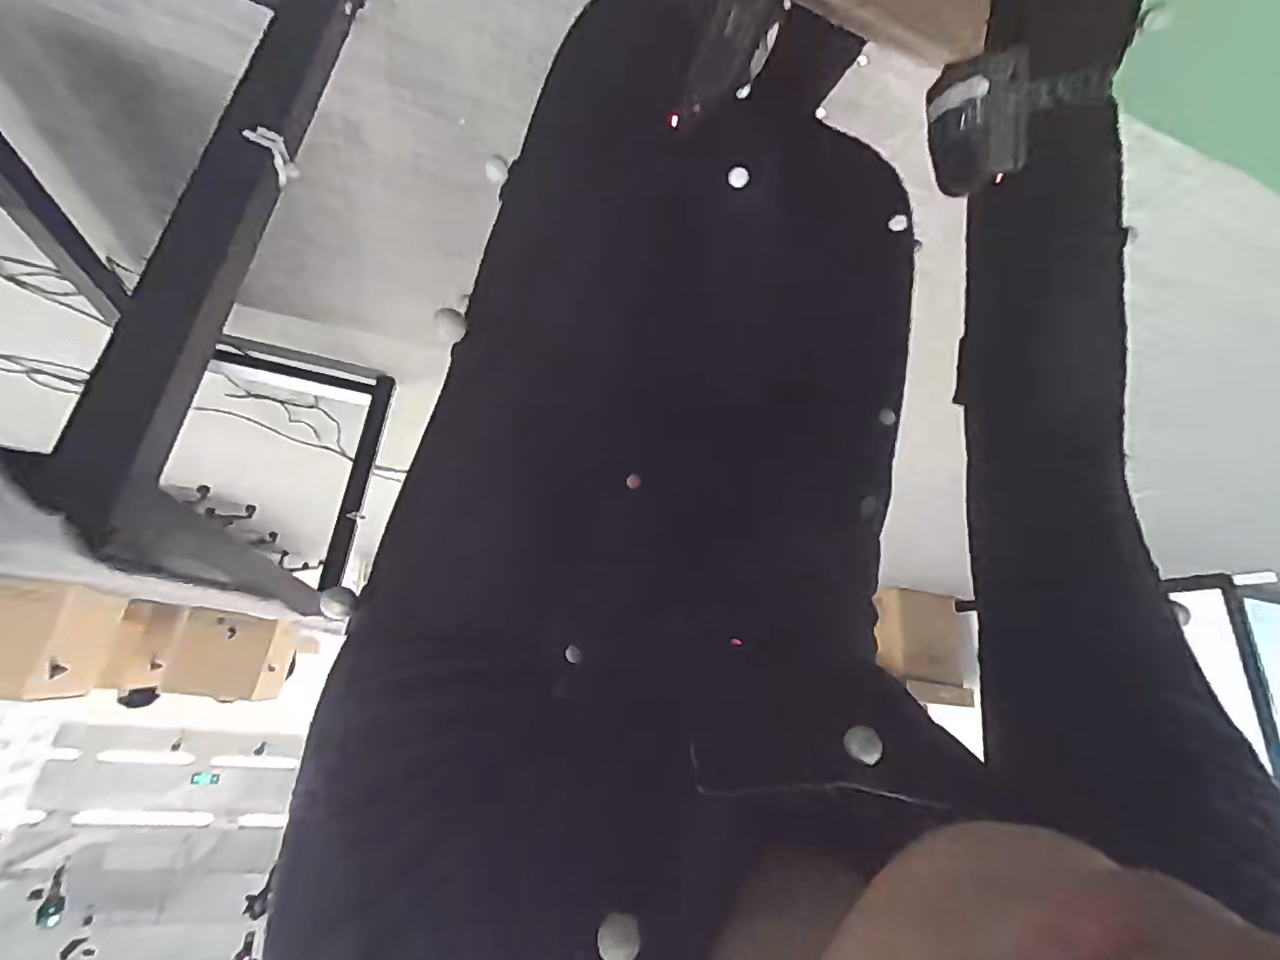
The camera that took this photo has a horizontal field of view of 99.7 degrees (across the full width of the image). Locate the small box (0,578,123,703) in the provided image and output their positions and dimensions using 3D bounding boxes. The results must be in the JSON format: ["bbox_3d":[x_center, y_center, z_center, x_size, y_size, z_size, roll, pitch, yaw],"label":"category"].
[{"bbox_3d":[-0.963,0.244,0.830,0.168,0.176,0.179,12,159,-16],"label":"small box"}]

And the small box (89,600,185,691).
[{"bbox_3d":[-1.067,0.326,1.084,0.168,0.176,0.179,11,159,-16],"label":"small box"}]
